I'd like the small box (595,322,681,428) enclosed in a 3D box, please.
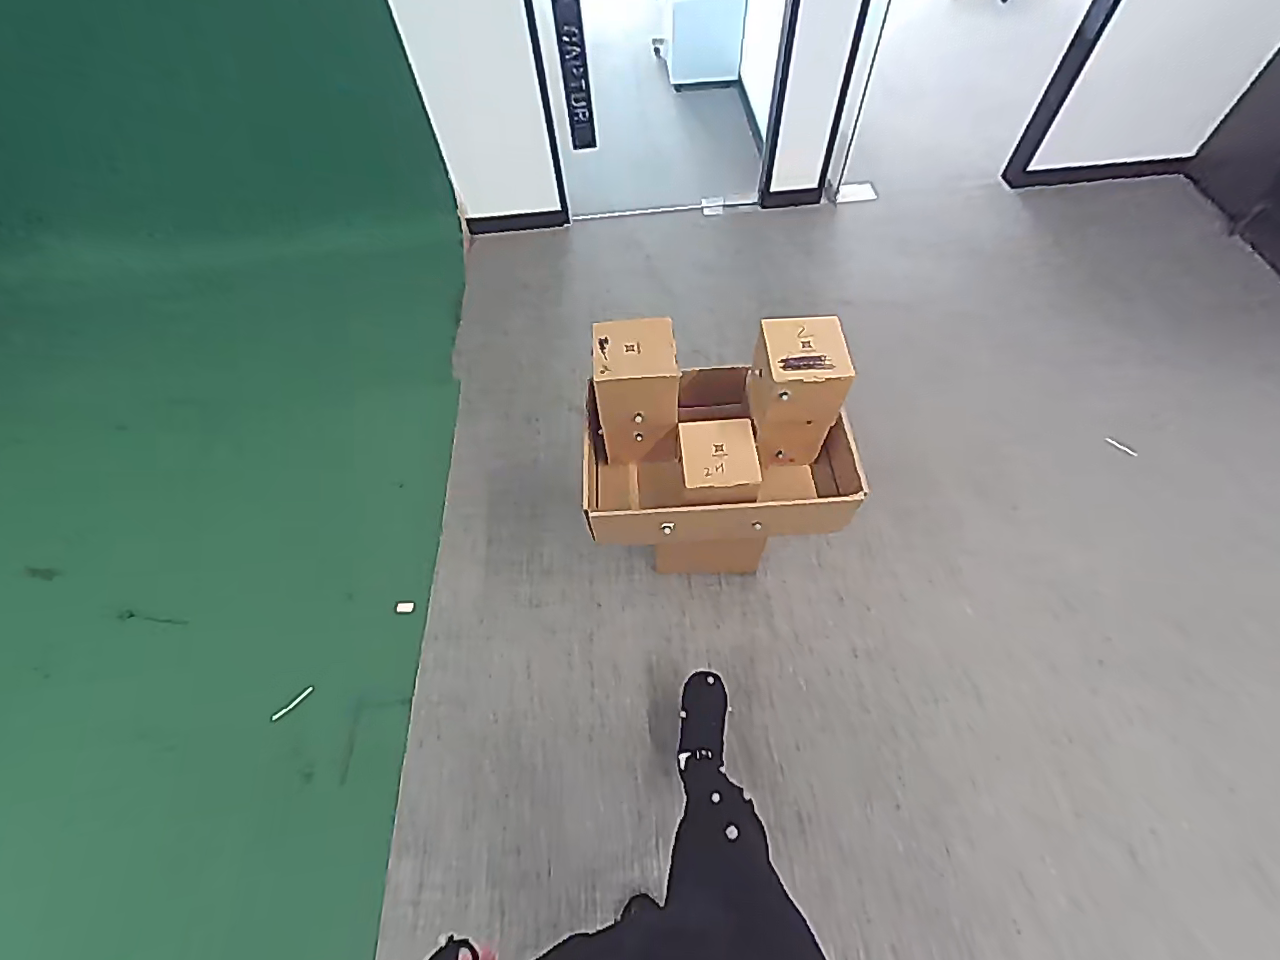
[{"bbox_3d":[-0.005,-0.230,1.202,0.179,0.176,0.168,-3,59,0],"label":"small box"}]
